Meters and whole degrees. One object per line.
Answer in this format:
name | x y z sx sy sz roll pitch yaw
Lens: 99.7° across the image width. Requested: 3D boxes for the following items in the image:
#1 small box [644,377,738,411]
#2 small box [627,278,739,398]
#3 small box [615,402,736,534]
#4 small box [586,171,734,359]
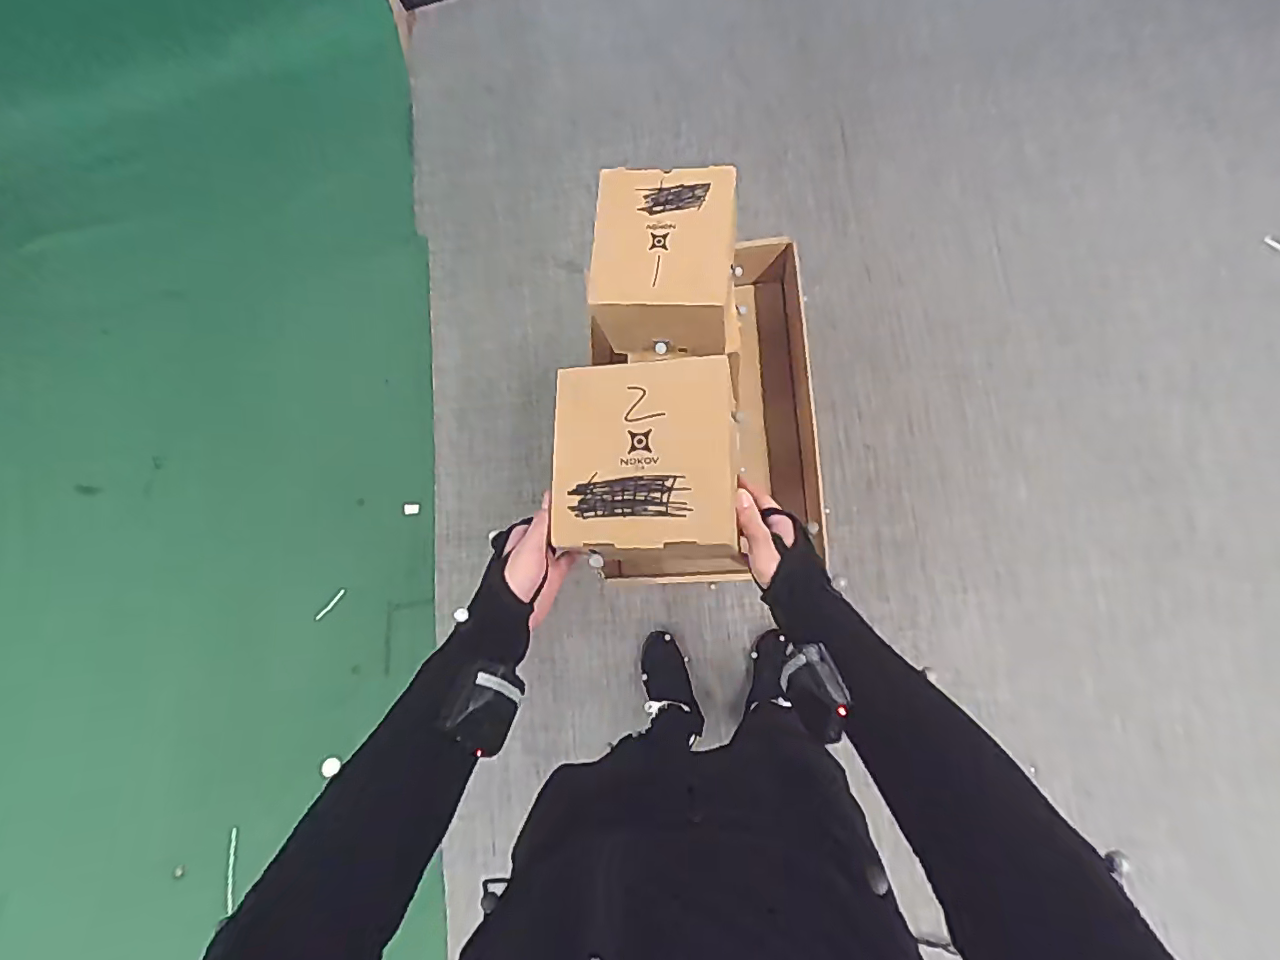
small box | 0.097 -0.225 1.039 0.168 0.176 0.179 -5 80 10
small box | 0.069 -0.248 0.881 0.168 0.176 0.179 -6 81 9
small box | 0.063 -0.010 0.835 0.168 0.176 0.179 1 79 10
small box | 0.036 -0.277 0.723 0.168 0.176 0.179 4 83 11
